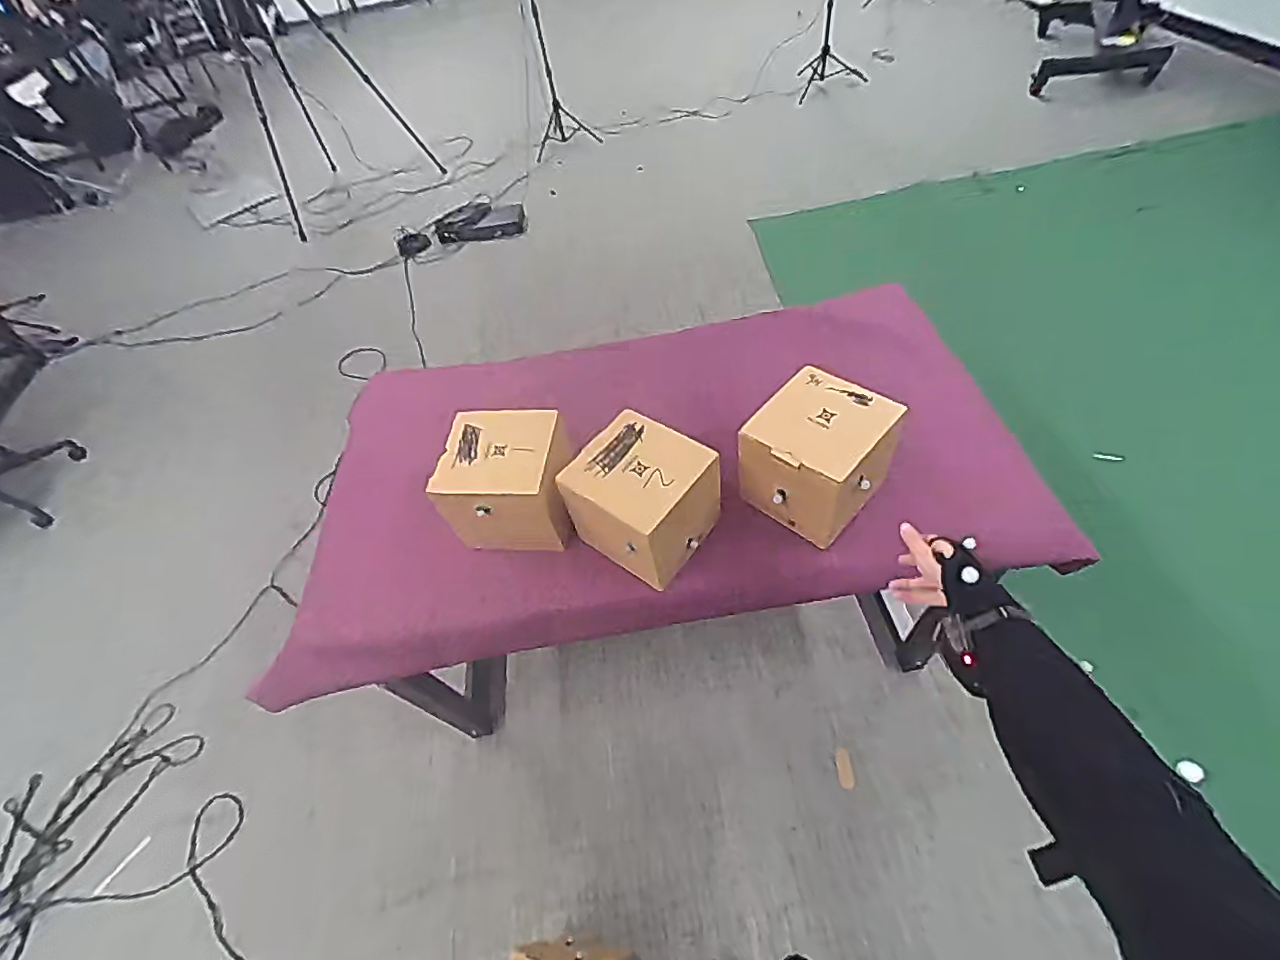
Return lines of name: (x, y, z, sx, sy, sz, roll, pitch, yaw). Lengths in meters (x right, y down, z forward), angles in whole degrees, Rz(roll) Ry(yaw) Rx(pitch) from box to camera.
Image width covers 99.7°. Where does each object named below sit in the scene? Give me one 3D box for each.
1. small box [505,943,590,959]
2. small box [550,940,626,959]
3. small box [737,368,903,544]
small box: (-0.152, 0.916, 0.906, 0.168, 0.176, 0.179, 6, 54, 16)
small box: (-0.122, 1.010, 1.034, 0.168, 0.176, 0.179, 2, 55, 12)
small box: (0.270, -0.033, 0.832, 0.168, 0.176, 0.179, 35, 66, 31)
